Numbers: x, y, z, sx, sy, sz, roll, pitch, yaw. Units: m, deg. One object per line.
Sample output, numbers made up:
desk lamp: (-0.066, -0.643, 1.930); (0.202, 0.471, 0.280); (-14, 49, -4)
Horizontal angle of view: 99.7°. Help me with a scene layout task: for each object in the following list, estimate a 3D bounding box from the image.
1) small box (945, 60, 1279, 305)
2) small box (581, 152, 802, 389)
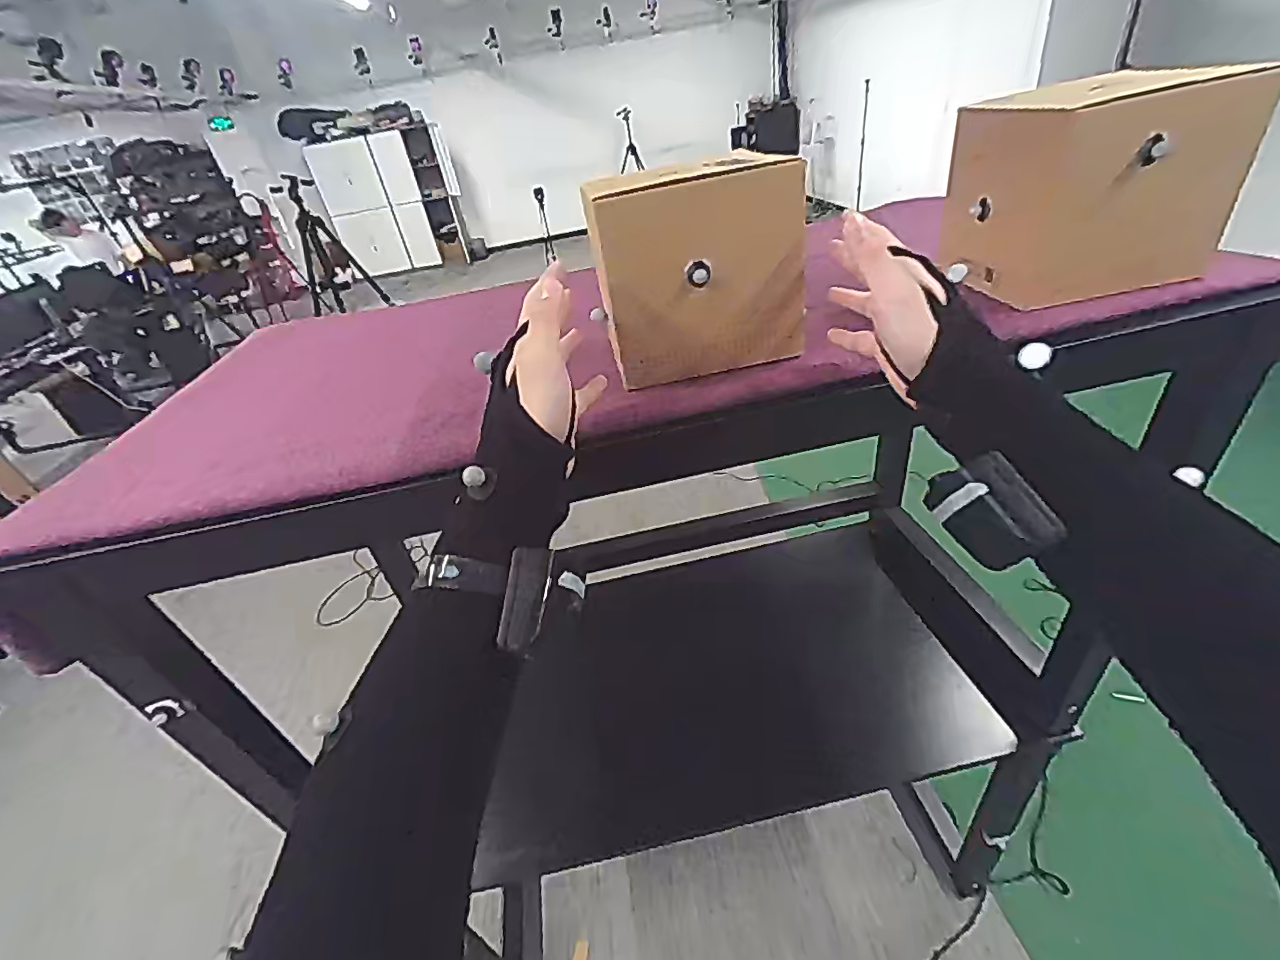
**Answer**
small box: (0.428, -0.287, 0.534); (0.179, 0.176, 0.168); (-10, 35, 3)
small box: (0.047, -0.209, 0.535); (0.179, 0.176, 0.168); (-13, 33, -1)
